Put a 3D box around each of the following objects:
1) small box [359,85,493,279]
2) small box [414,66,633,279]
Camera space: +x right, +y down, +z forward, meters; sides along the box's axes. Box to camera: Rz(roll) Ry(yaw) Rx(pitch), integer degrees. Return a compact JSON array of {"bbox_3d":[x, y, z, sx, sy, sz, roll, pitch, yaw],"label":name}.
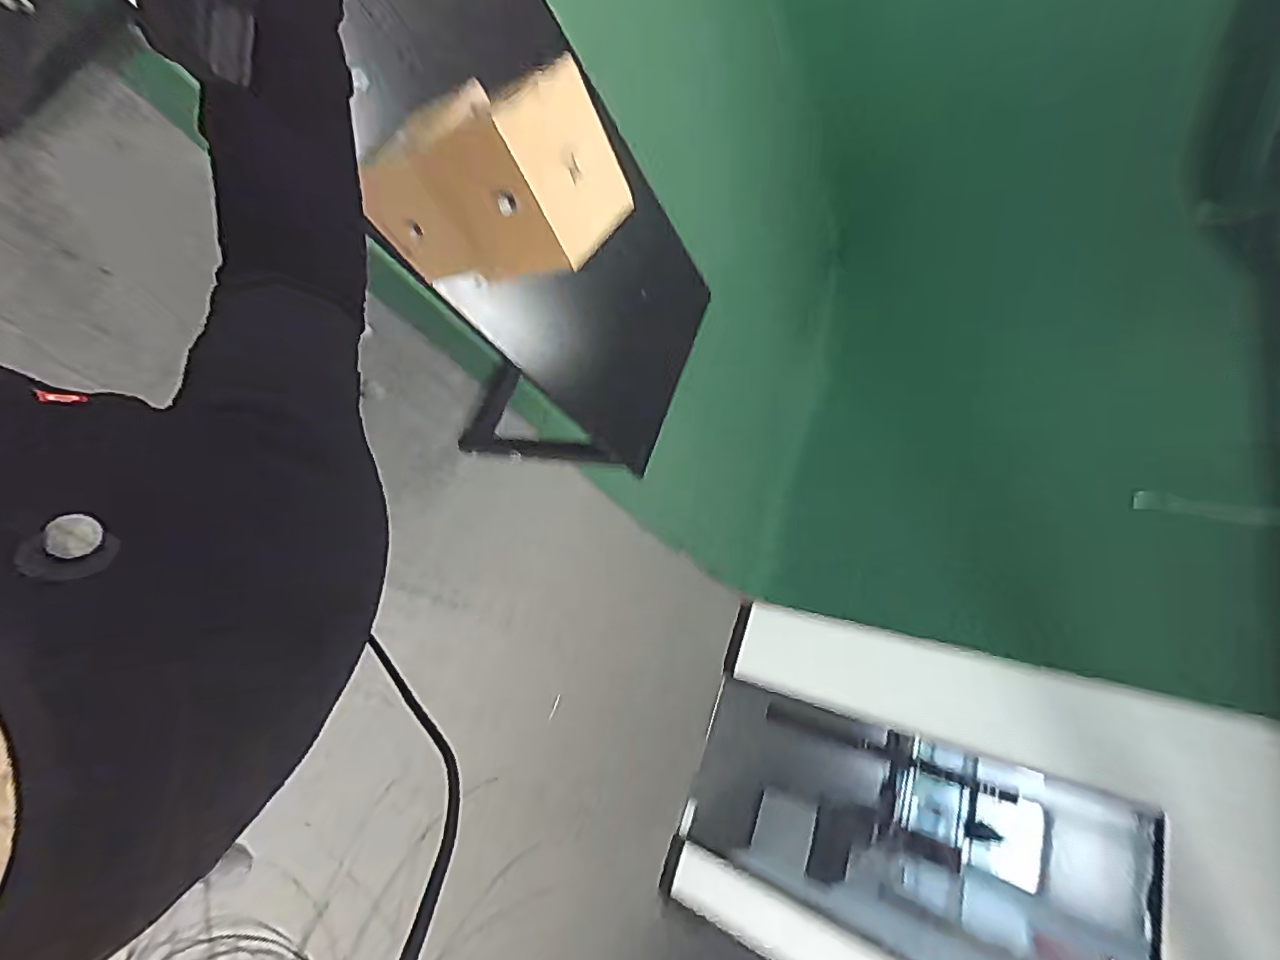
[{"bbox_3d":[-0.271,-0.418,0.787,0.168,0.176,0.179,50,57,-45],"label":"small box"},{"bbox_3d":[-0.143,-0.377,0.693,0.168,0.176,0.179,-59,137,-28],"label":"small box"}]
